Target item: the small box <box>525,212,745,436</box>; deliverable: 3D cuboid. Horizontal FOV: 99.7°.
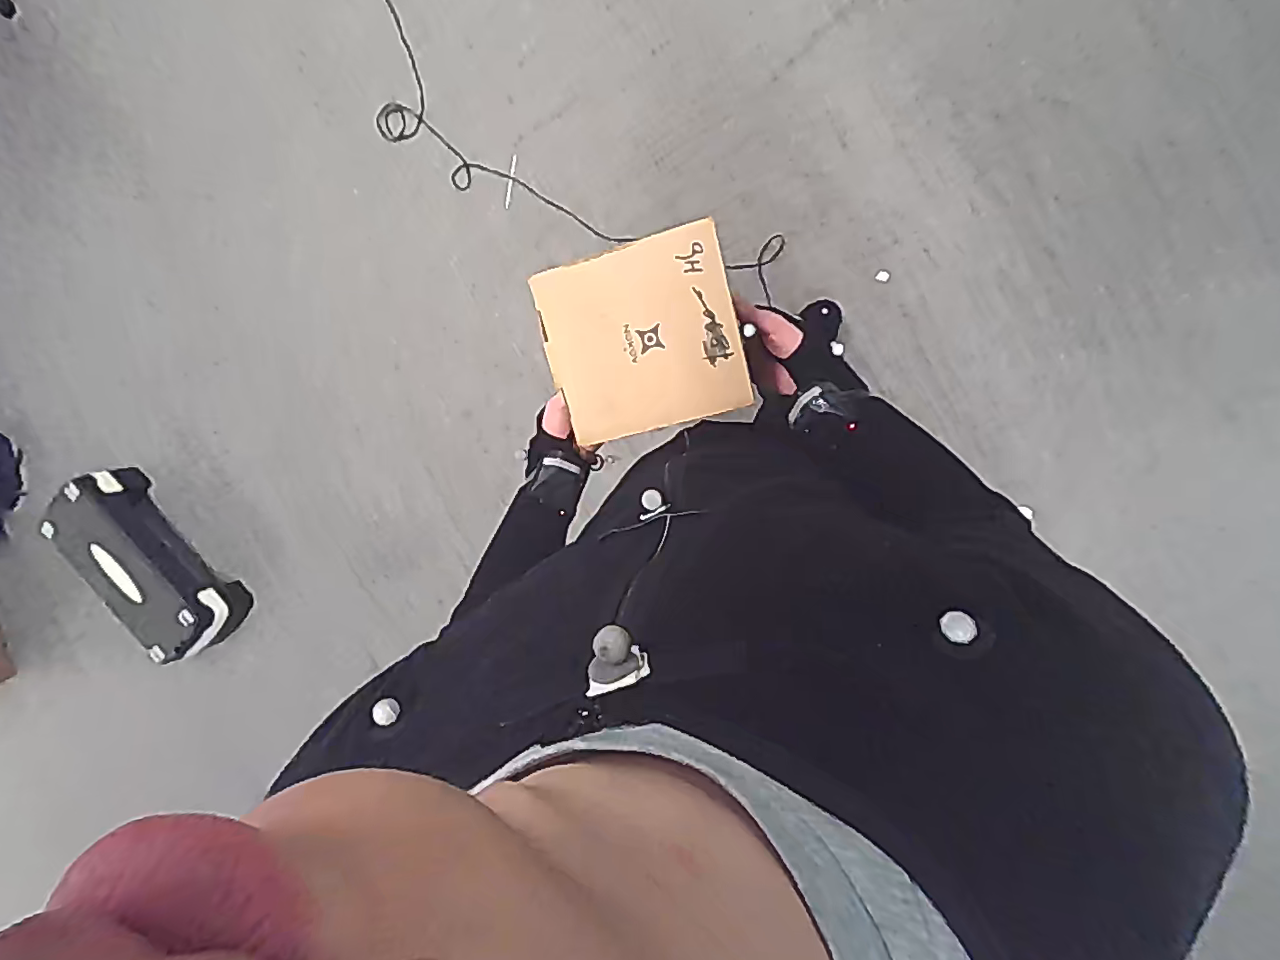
[{"bbox_3d":[0.010,-0.155,0.566,0.179,0.176,0.168,-11,105,13],"label":"small box"}]
